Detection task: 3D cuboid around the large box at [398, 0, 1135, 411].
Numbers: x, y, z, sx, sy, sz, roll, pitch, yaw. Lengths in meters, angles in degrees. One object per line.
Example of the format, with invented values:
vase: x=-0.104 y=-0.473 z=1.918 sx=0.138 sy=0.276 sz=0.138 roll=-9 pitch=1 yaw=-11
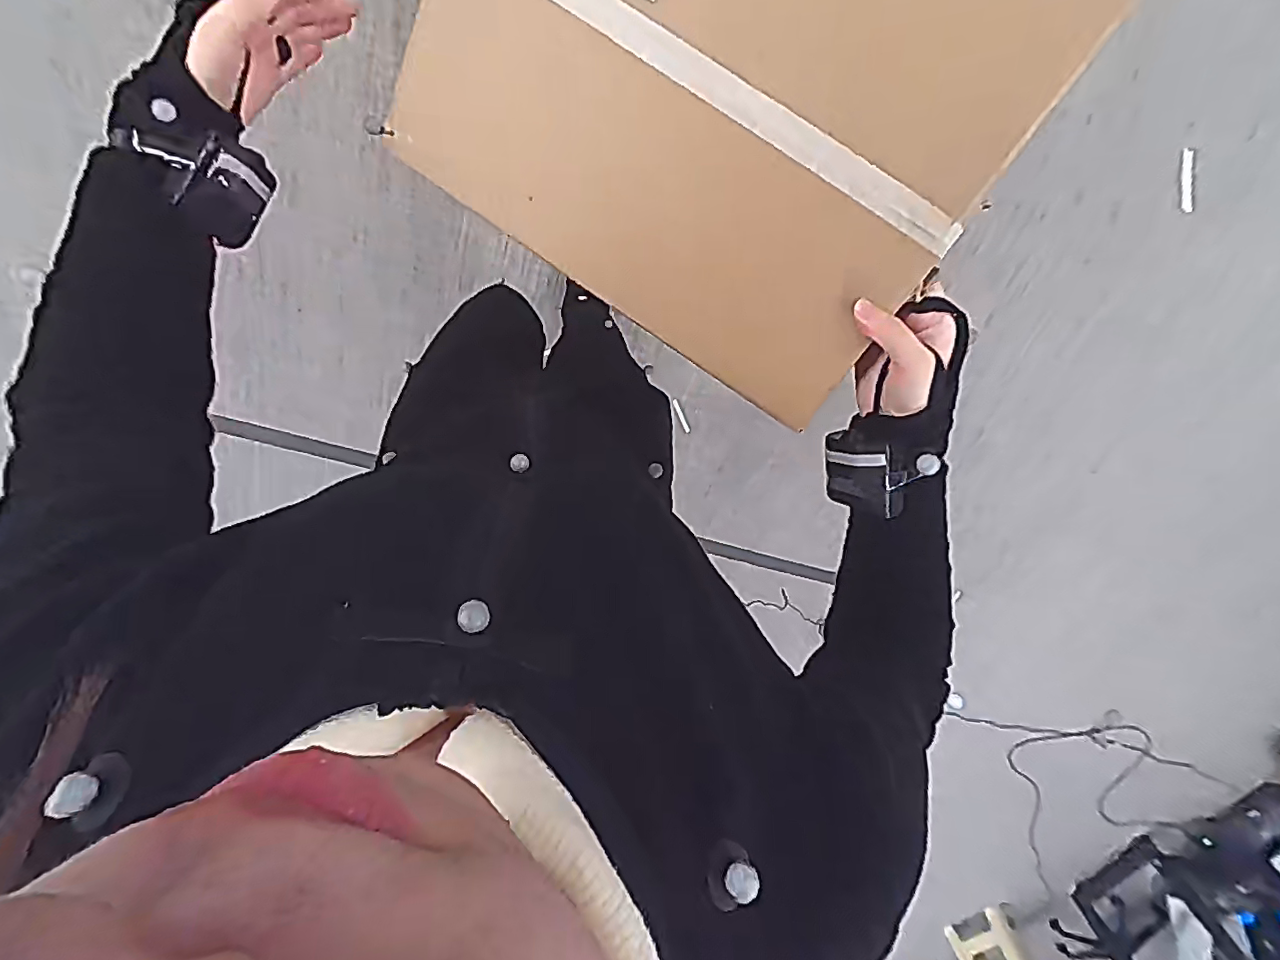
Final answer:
large box: x=0.086 y=-0.321 z=0.489 sx=0.408 sy=0.320 sz=0.320 roll=36 pitch=114 yaw=3
